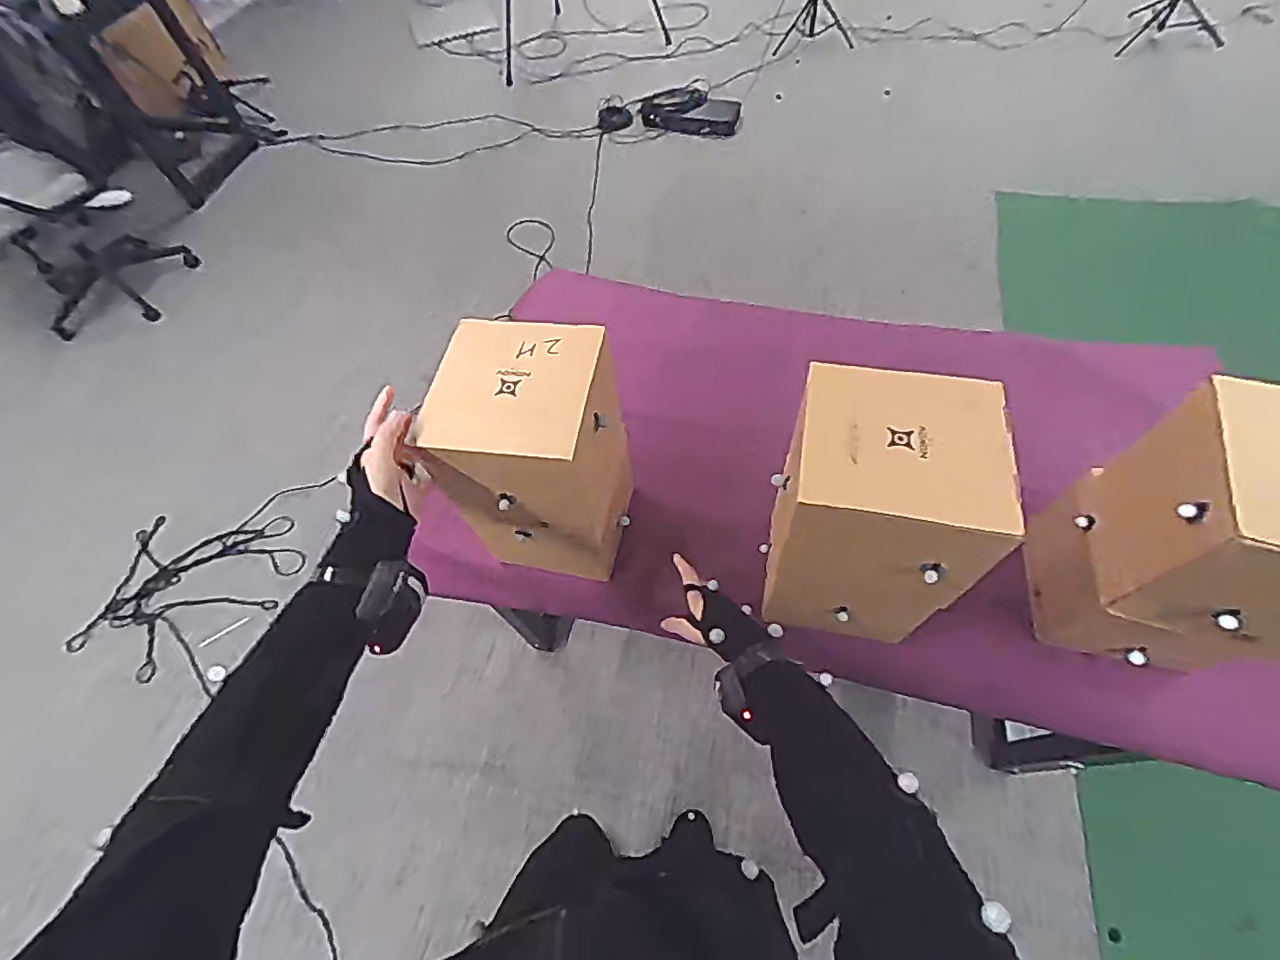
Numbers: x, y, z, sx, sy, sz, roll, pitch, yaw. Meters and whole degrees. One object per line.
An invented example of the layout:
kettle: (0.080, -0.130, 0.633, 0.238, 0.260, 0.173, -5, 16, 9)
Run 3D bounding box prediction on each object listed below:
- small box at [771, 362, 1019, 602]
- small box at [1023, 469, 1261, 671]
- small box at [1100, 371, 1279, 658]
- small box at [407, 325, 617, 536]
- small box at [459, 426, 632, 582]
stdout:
small box: (0.236, 0.008, 0.541, 0.179, 0.176, 0.168, 8, 57, 13)
small box: (0.592, 0.110, 0.632, 0.179, 0.176, 0.168, 8, 57, 13)
small box: (0.558, 0.035, 0.488, 0.168, 0.176, 0.179, 15, 61, 16)
small box: (-0.126, -0.052, 0.617, 0.168, 0.176, 0.179, 5, 57, 8)
small box: (-0.118, 0.029, 0.761, 0.179, 0.176, 0.168, 8, 58, 10)
